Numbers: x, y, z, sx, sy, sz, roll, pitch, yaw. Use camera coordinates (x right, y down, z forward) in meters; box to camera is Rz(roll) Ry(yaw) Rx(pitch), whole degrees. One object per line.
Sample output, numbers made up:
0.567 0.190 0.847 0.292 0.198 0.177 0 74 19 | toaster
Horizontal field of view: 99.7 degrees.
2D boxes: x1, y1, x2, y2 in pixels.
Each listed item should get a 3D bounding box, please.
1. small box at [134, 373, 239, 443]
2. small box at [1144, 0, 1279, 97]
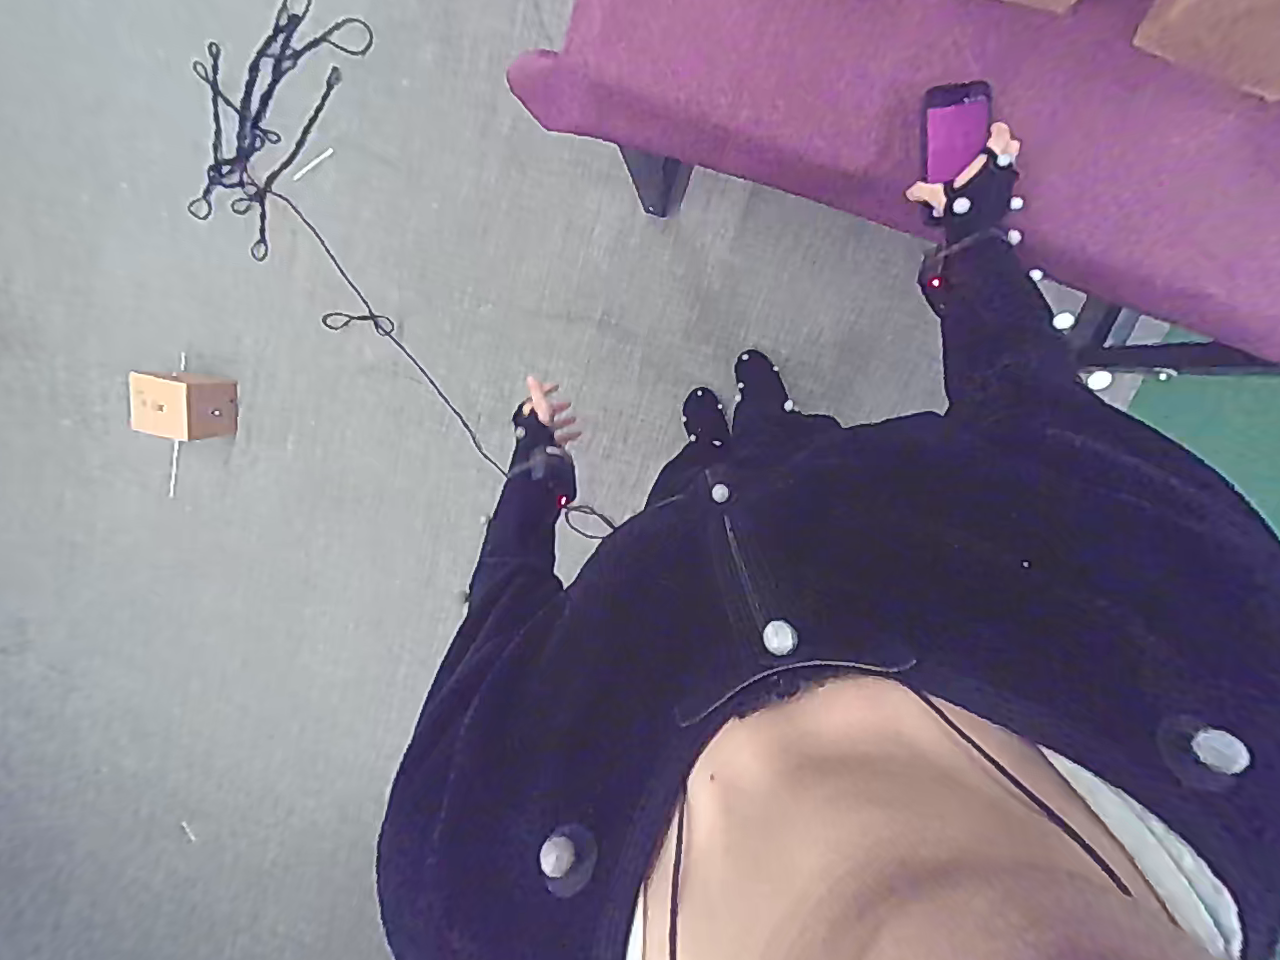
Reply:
-1.306 -0.215 1.568 0.179 0.176 0.168 13 103 5 | small box
0.656 -0.508 0.510 0.179 0.176 0.168 25 104 2 | small box
